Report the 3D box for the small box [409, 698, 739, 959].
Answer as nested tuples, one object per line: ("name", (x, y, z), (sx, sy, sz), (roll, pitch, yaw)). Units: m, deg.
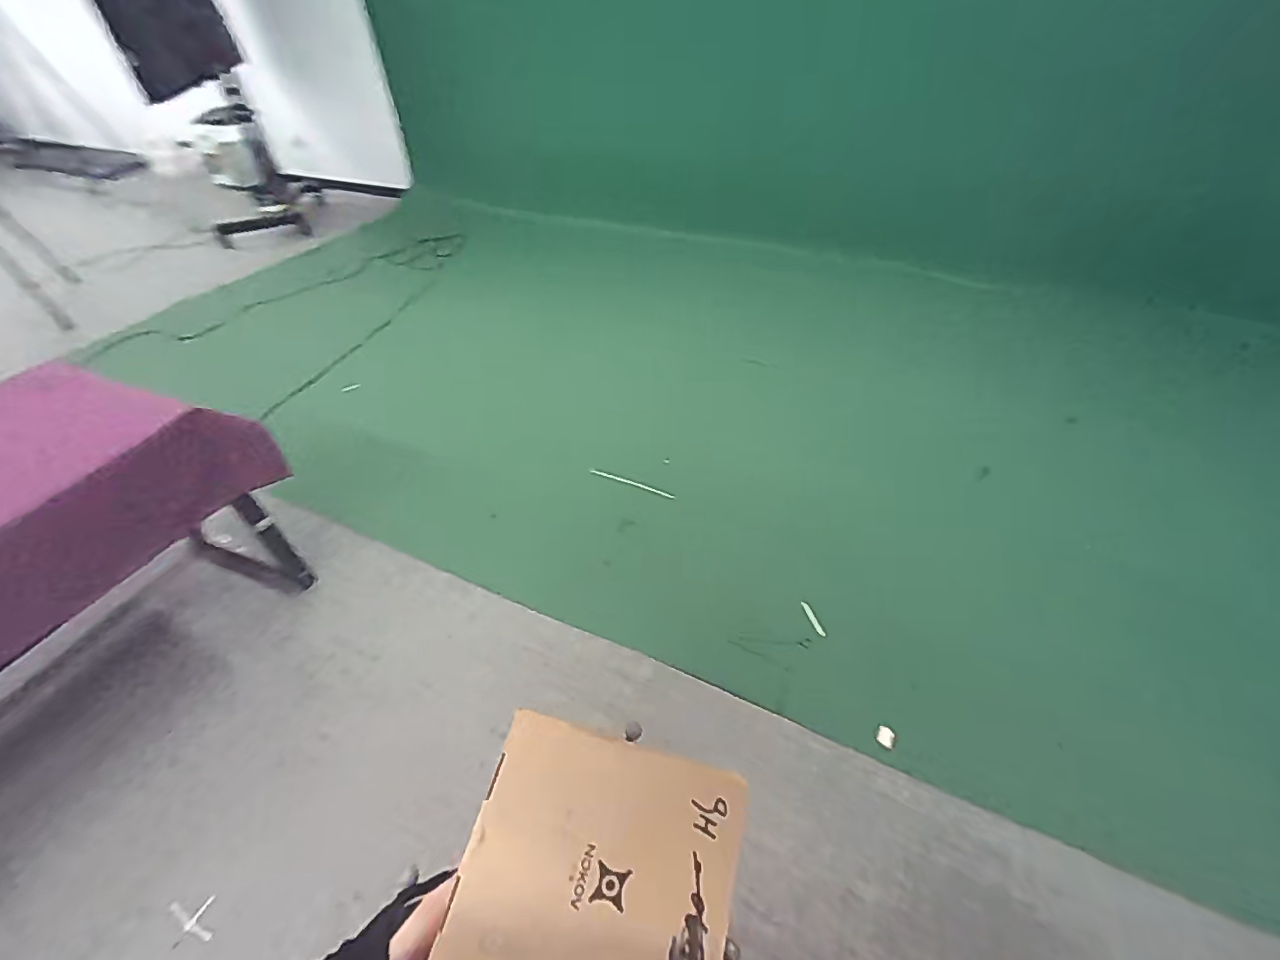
("small box", (-0.038, 0.287, 0.422), (0.179, 0.176, 0.168), (15, 64, 6))
